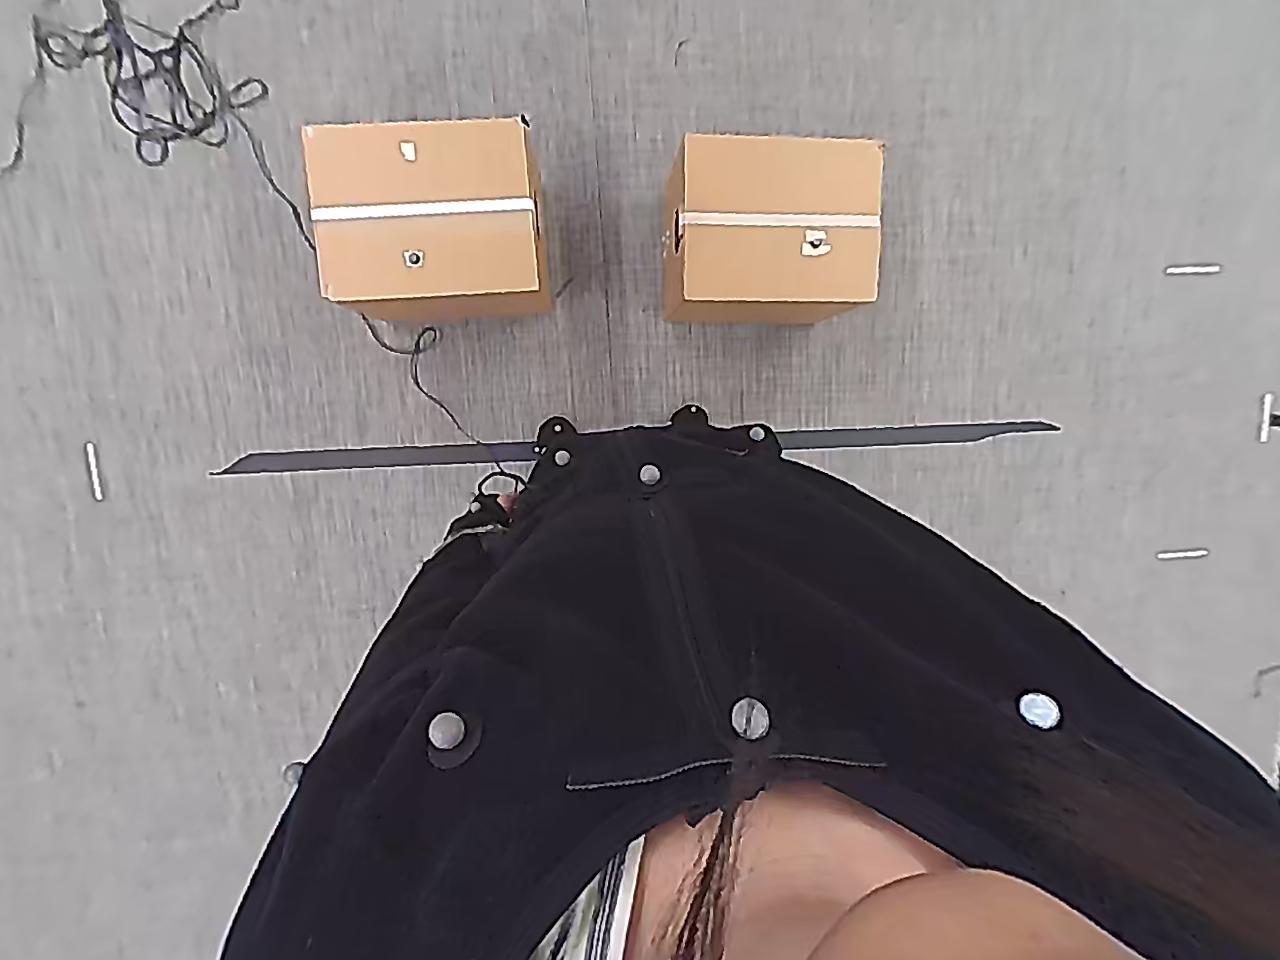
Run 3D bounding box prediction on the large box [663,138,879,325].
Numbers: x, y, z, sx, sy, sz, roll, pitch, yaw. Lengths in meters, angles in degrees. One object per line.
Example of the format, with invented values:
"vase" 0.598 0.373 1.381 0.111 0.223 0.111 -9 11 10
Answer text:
"large box" 0.272 -0.538 1.236 0.408 0.320 0.320 -1 98 -6
